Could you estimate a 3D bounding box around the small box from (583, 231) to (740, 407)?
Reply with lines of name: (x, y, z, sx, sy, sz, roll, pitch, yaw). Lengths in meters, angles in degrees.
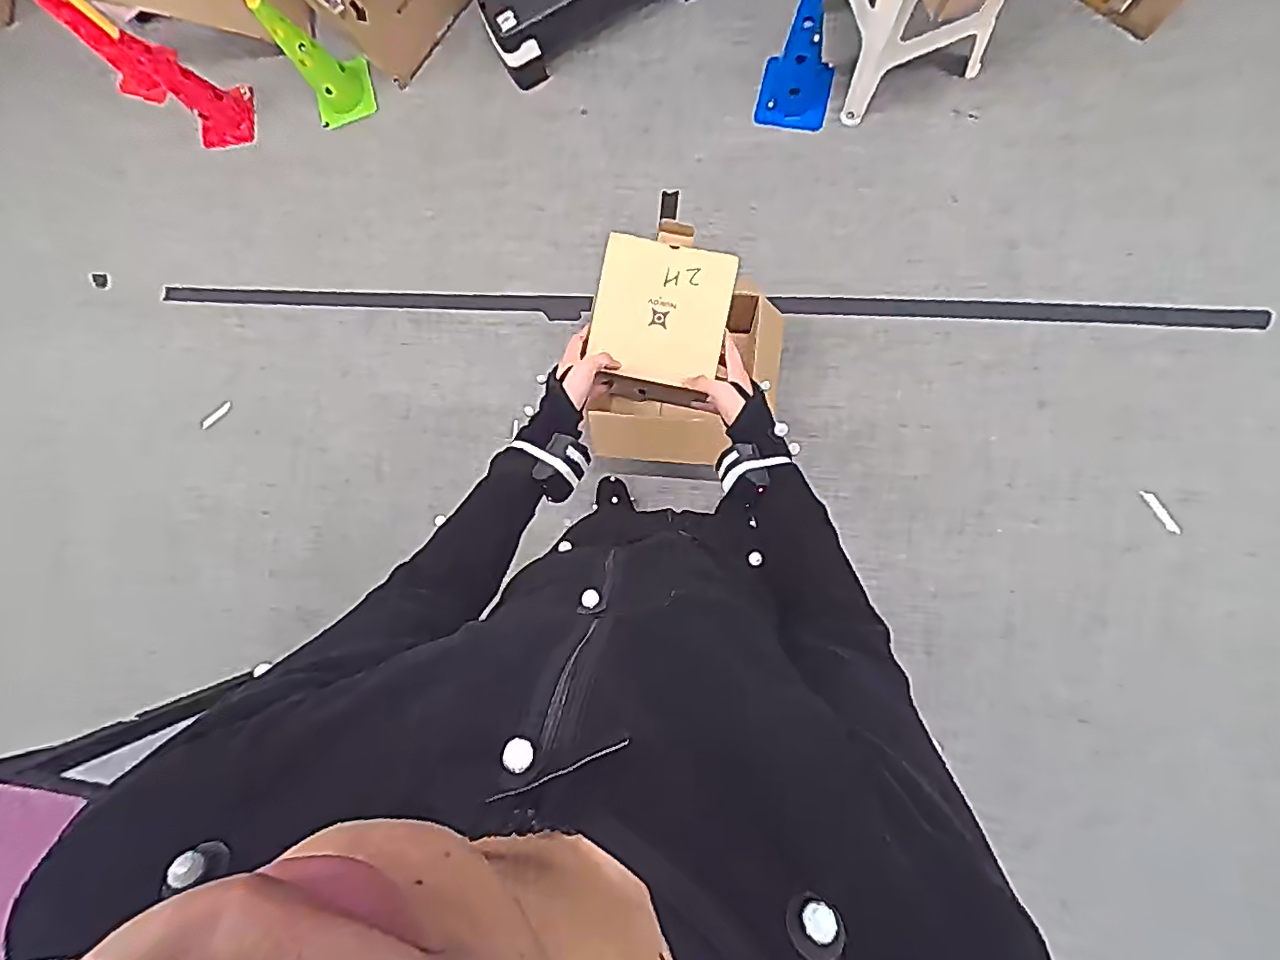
small box: (0.027, -0.205, 0.742, 0.168, 0.176, 0.179, 12, 90, -1)
